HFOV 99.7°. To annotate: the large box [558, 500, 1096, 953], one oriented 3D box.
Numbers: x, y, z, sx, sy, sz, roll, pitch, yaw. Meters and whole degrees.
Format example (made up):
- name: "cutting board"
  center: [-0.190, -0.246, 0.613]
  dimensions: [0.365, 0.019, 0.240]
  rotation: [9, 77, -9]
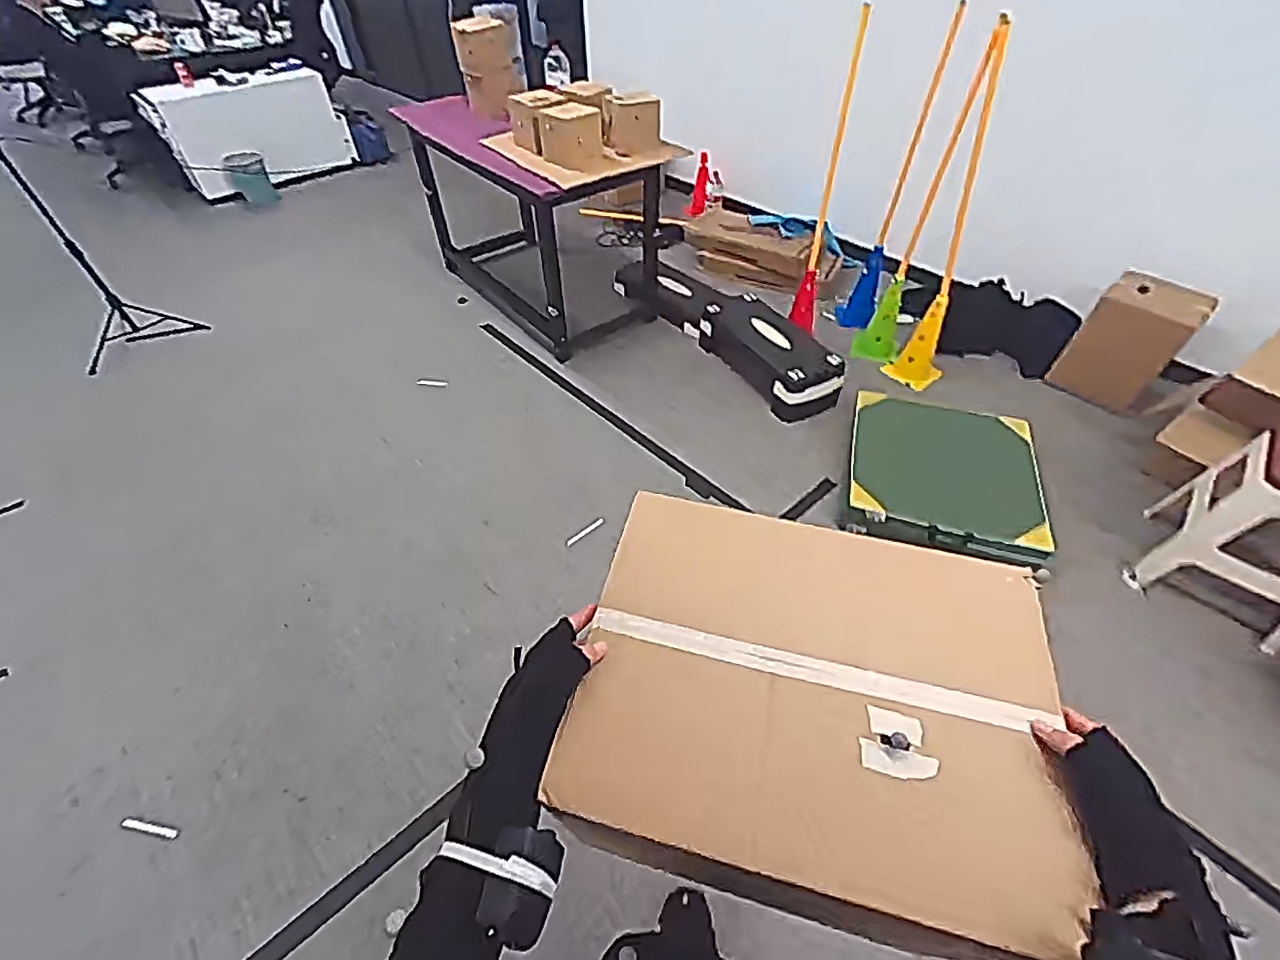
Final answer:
- name: "large box"
  center: [0.160, 0.265, 0.607]
  dimensions: [0.408, 0.320, 0.320]
  rotation: [12, 53, 10]
